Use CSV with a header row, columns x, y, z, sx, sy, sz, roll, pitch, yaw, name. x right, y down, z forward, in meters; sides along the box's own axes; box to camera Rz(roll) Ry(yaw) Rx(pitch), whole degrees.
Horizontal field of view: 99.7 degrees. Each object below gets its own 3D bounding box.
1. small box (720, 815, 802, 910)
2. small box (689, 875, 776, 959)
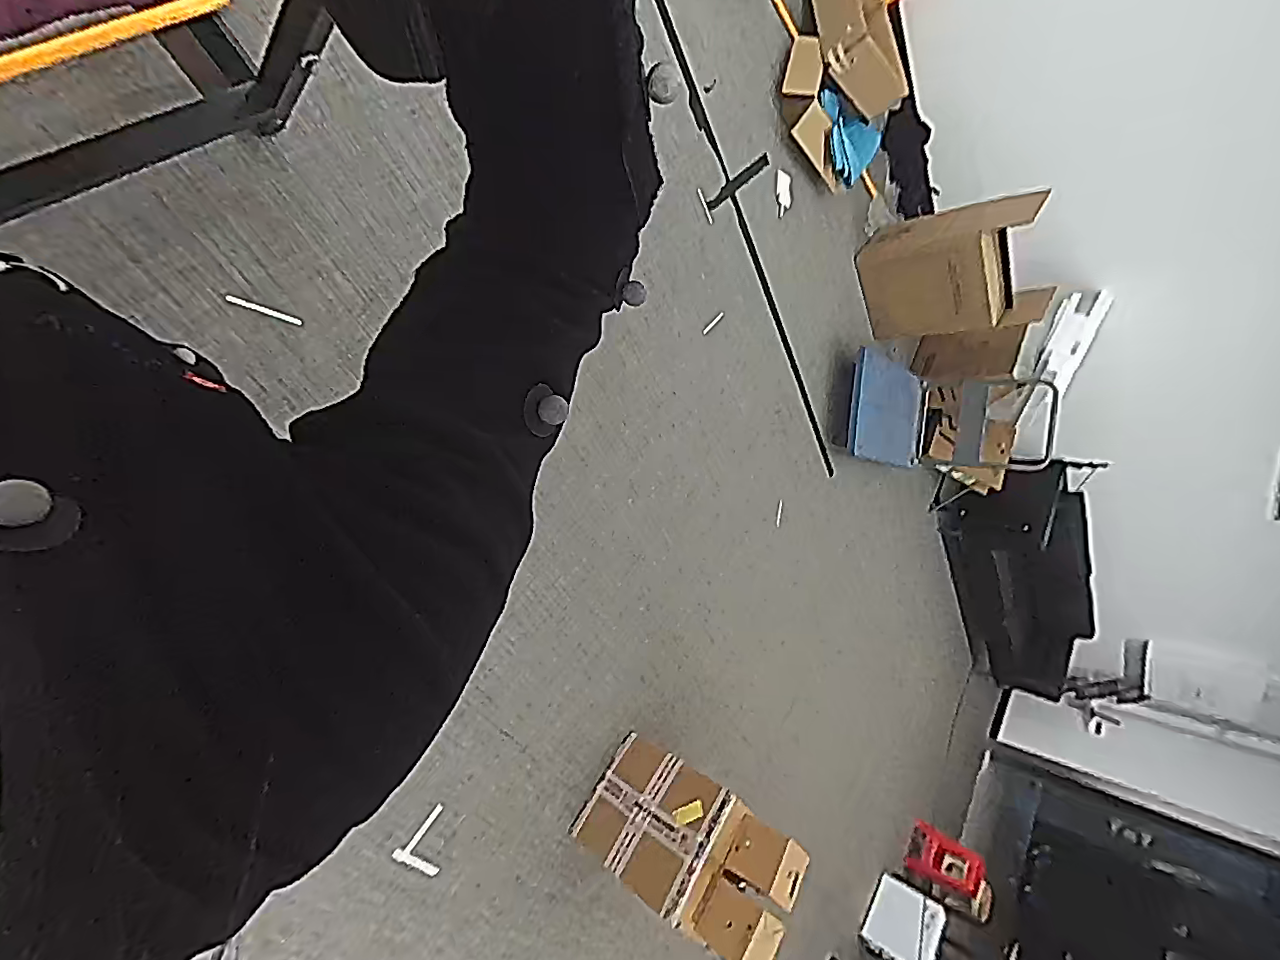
x,y,z,sx,sy,sz,roll,pitch,yaw,name
0.383,1.205,1.715,0.168,0.176,0.179,-54,126,-30,small box
0.285,1.350,1.628,0.168,0.176,0.179,-50,124,-25,small box
